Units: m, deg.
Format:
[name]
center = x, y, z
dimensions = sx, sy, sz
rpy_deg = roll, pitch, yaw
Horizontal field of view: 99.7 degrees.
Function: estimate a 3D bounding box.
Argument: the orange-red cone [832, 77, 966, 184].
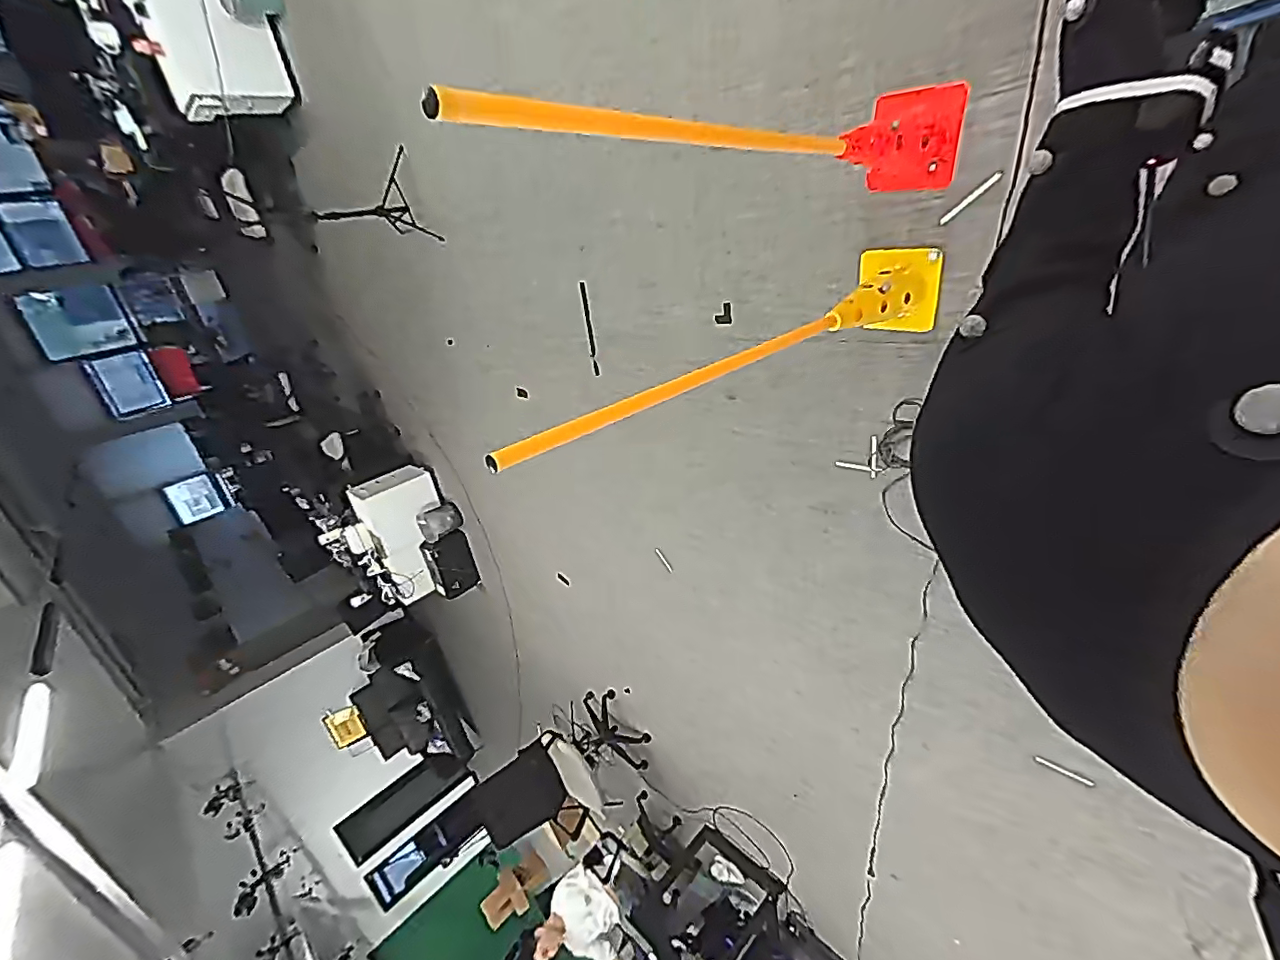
[orange-red cone]
center = 0.498, -0.717, 1.123
dimensions = 0.198, 0.360, 0.199
rpy_deg = 23, 129, 38
